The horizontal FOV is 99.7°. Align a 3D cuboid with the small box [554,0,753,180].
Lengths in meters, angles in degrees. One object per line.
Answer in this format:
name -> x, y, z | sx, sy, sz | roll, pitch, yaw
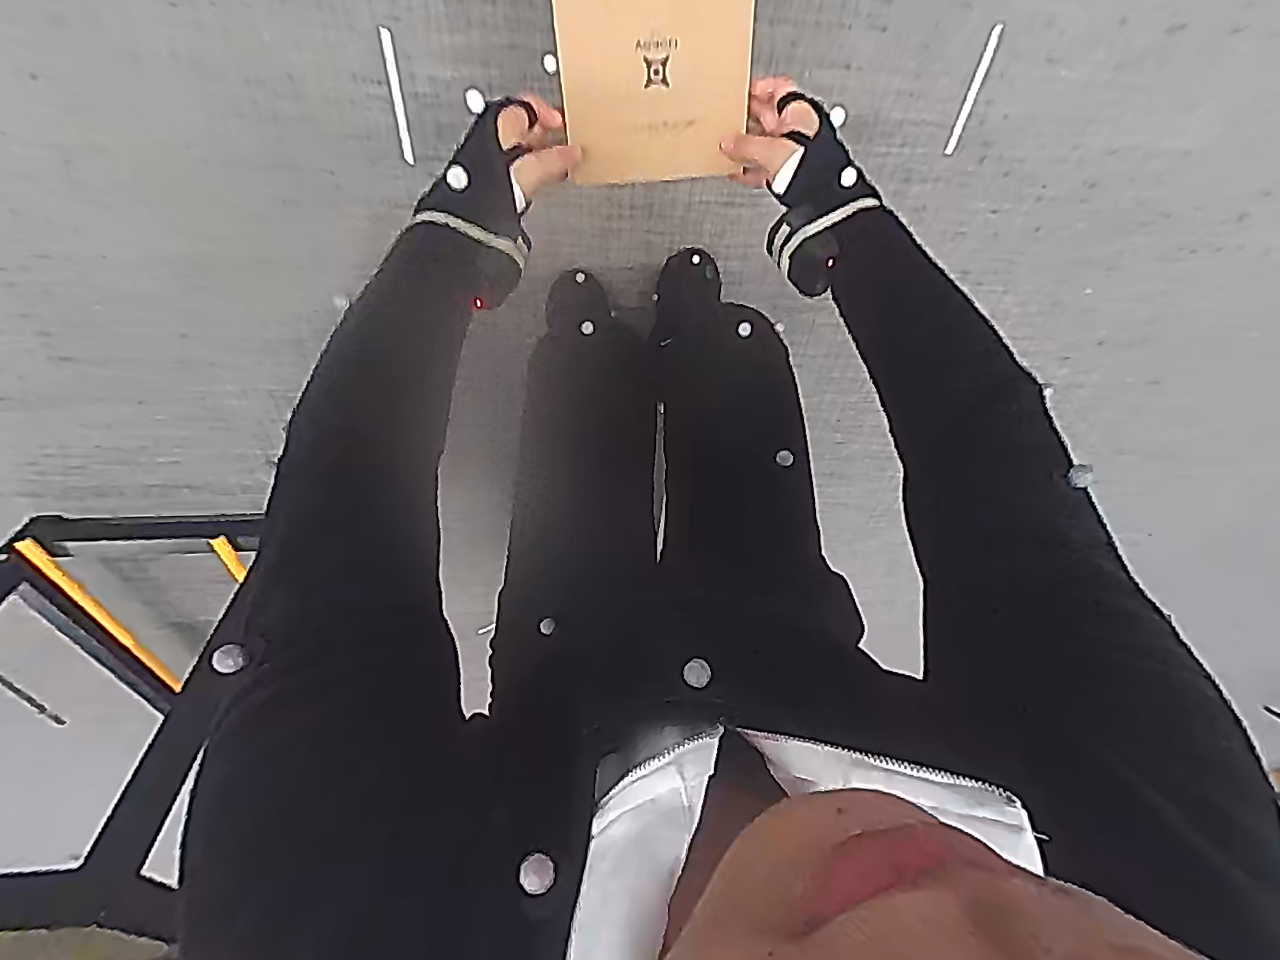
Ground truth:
small box -> 0.005, -0.411, 0.523 | 0.168, 0.176, 0.179 | -6, 132, -2
